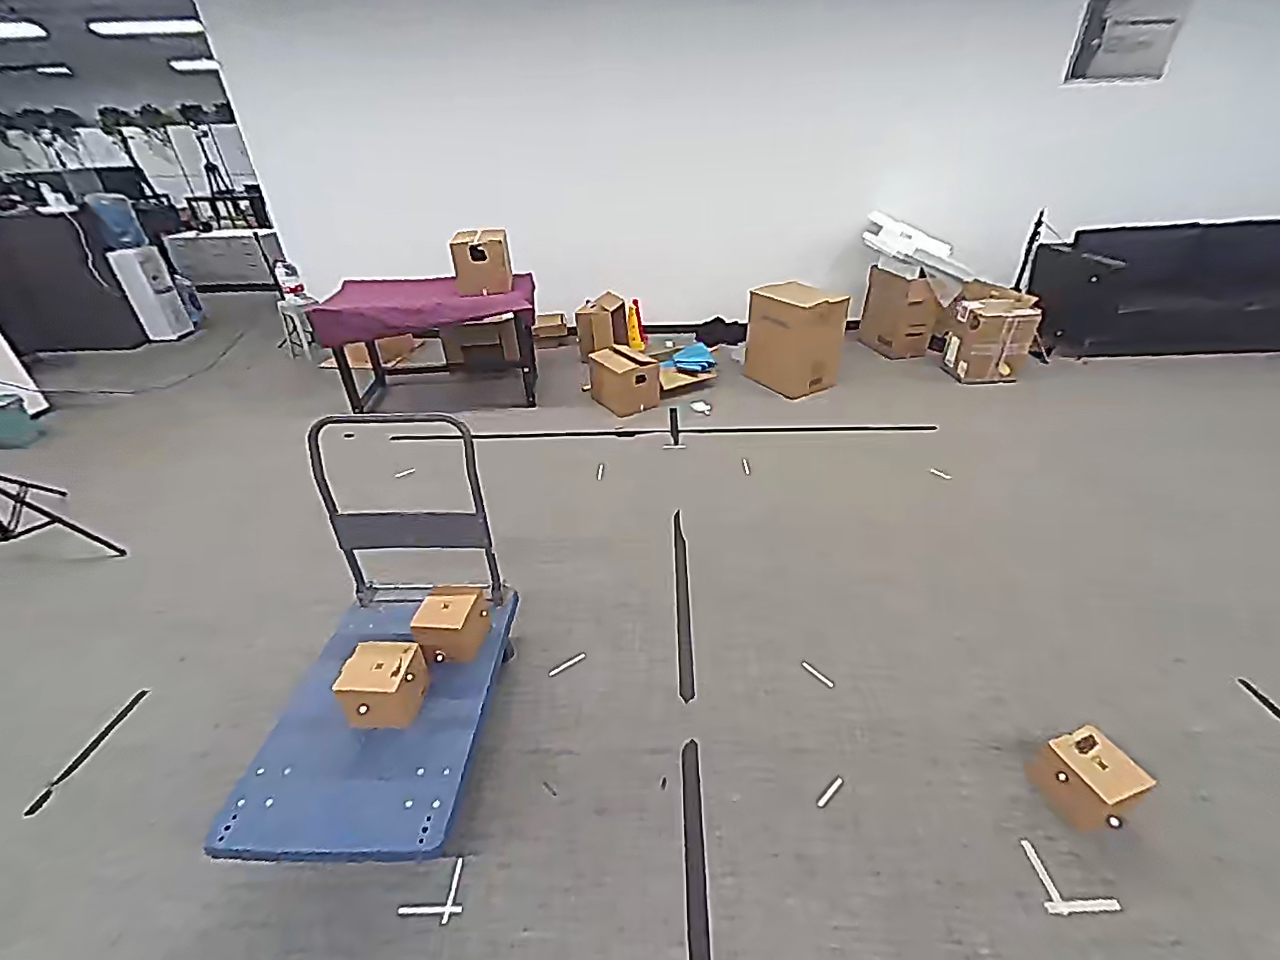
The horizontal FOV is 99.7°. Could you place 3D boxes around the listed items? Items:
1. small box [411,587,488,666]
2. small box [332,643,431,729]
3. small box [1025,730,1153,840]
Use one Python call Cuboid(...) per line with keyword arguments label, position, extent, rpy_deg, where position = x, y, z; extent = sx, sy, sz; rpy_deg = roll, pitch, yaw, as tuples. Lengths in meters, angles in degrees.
Cuboid(label="small box", position=(-0.596, 0.464, 1.721), extent=(0.168, 0.176, 0.179), rpy_deg=(0, 34, 7))
Cuboid(label="small box", position=(-0.723, 0.584, 1.534), extent=(0.179, 0.176, 0.168), rpy_deg=(0, 34, 4))
Cuboid(label="small box", position=(1.189, 0.815, 1.449), extent=(0.168, 0.176, 0.179), rpy_deg=(-11, 34, -14))
